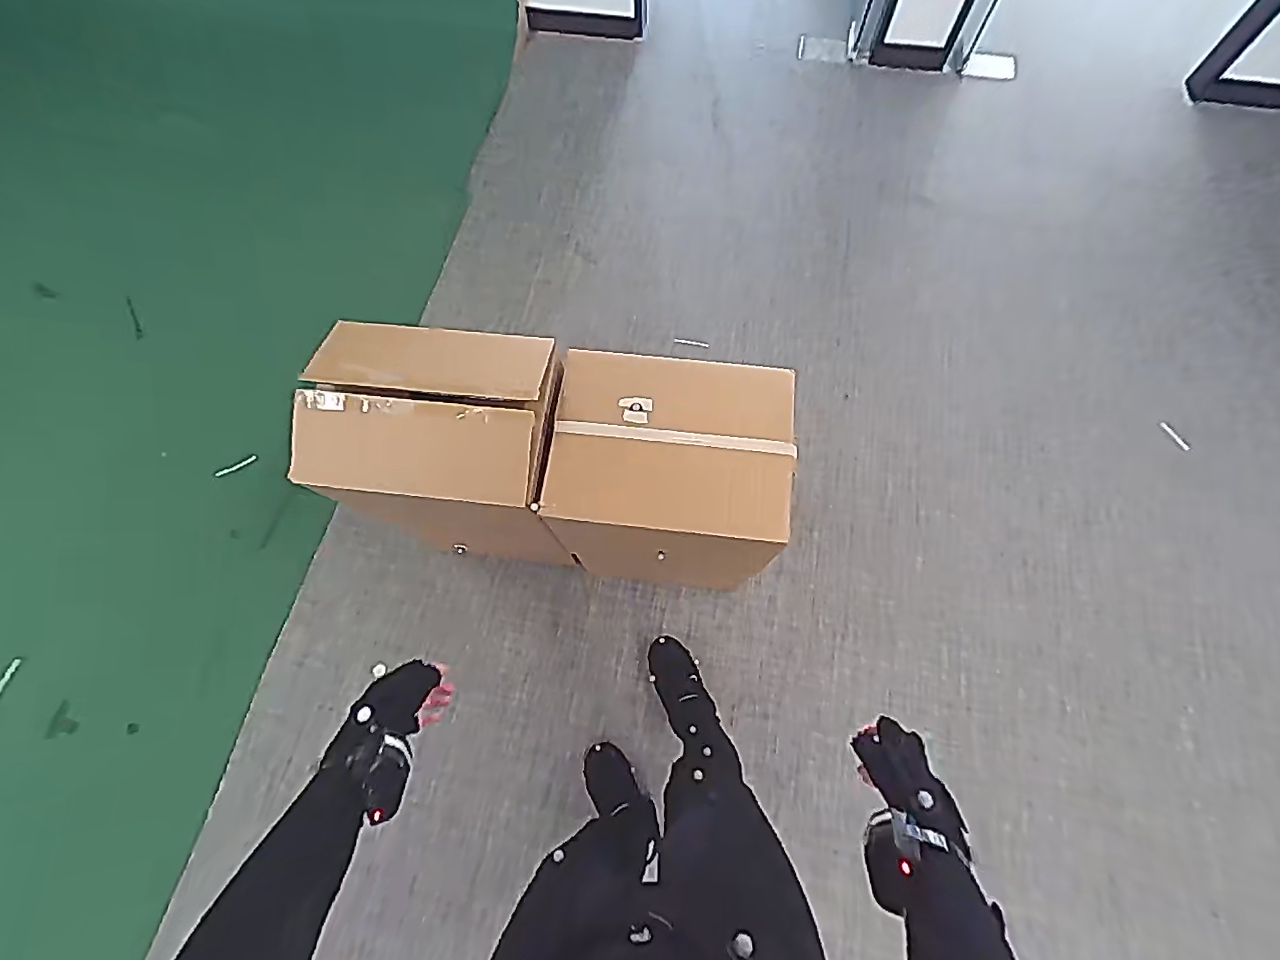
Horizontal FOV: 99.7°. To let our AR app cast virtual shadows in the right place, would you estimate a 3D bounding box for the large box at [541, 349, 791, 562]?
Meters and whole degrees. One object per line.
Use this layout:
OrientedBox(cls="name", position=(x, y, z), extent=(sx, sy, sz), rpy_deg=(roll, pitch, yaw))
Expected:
OrientedBox(cls="large box", position=(0.060, -0.030, 1.047), extent=(0.408, 0.320, 0.320), rpy_deg=(5, 71, 5))
